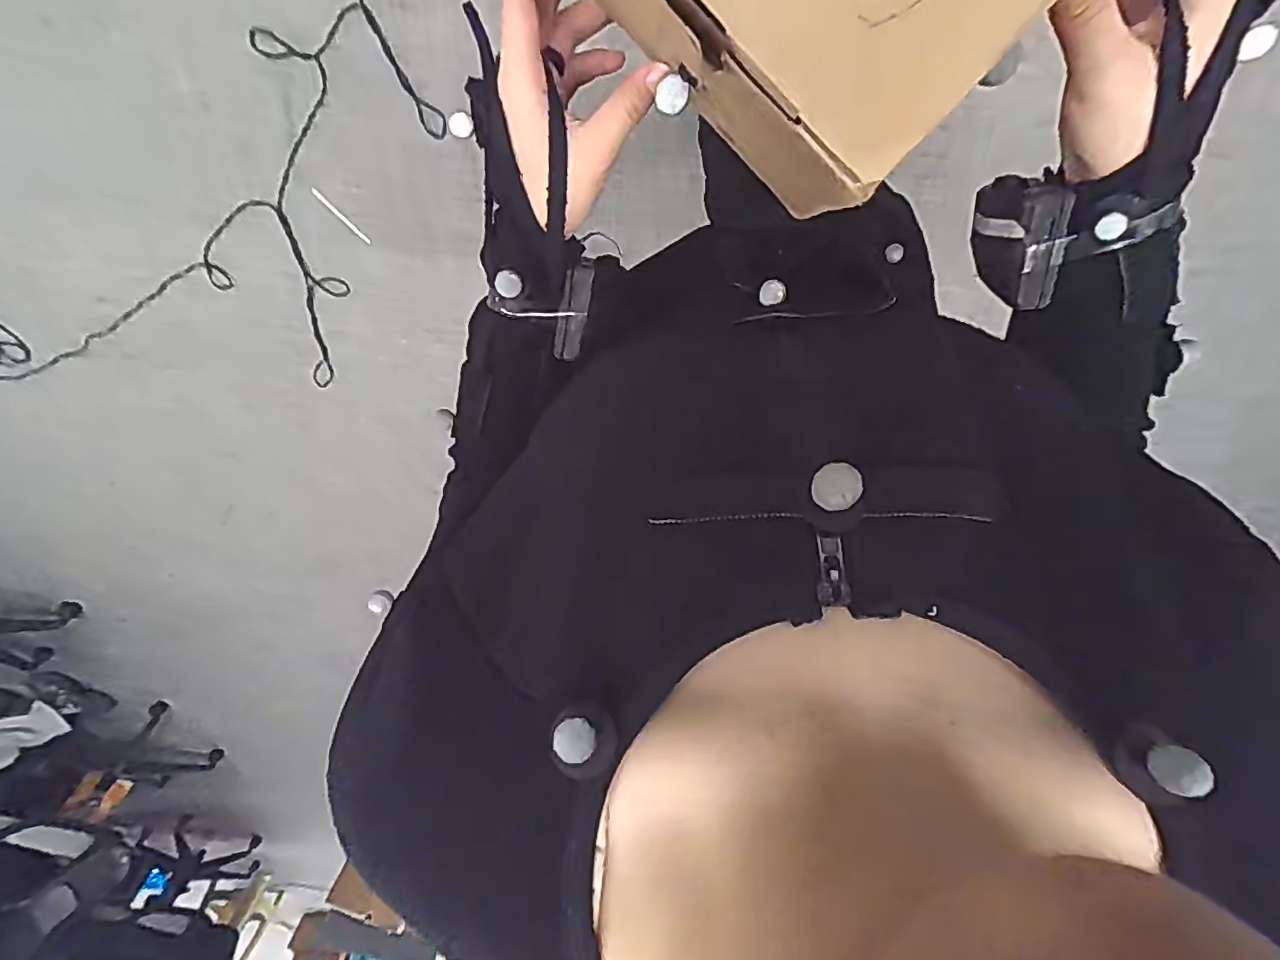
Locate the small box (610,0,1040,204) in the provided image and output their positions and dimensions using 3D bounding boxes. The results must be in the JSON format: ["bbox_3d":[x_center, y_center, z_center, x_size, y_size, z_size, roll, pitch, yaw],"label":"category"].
[{"bbox_3d":[0.079,-0.230,0.199,0.168,0.176,0.179,42,114,-9],"label":"small box"}]
